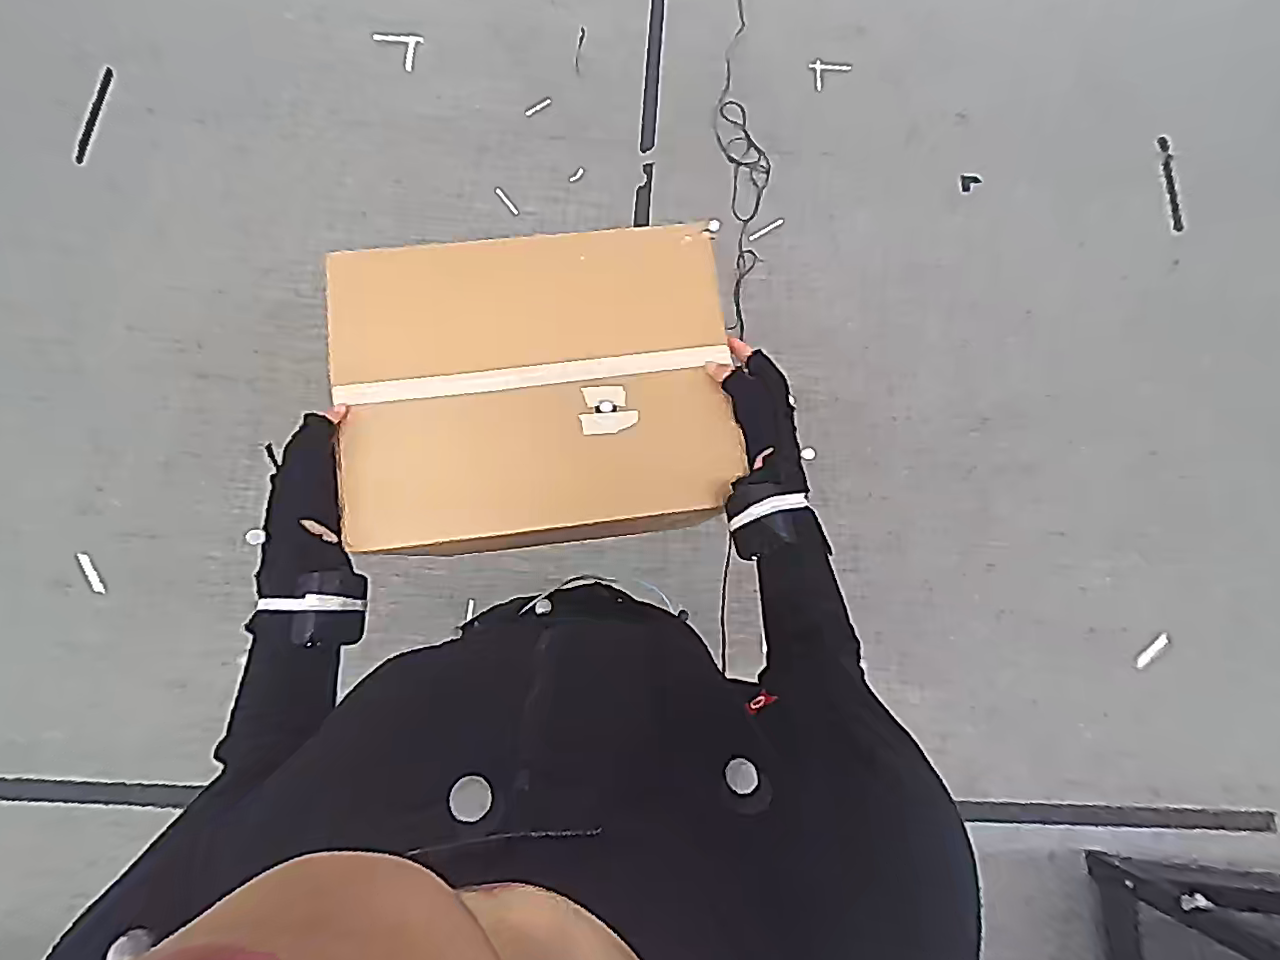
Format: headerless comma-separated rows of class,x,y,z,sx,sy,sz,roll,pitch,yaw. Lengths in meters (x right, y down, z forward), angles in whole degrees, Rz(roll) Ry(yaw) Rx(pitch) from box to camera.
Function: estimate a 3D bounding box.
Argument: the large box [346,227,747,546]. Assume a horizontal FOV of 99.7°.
large box,-0.112,-0.092,0.718,0.408,0.320,0.320,-6,83,-5
